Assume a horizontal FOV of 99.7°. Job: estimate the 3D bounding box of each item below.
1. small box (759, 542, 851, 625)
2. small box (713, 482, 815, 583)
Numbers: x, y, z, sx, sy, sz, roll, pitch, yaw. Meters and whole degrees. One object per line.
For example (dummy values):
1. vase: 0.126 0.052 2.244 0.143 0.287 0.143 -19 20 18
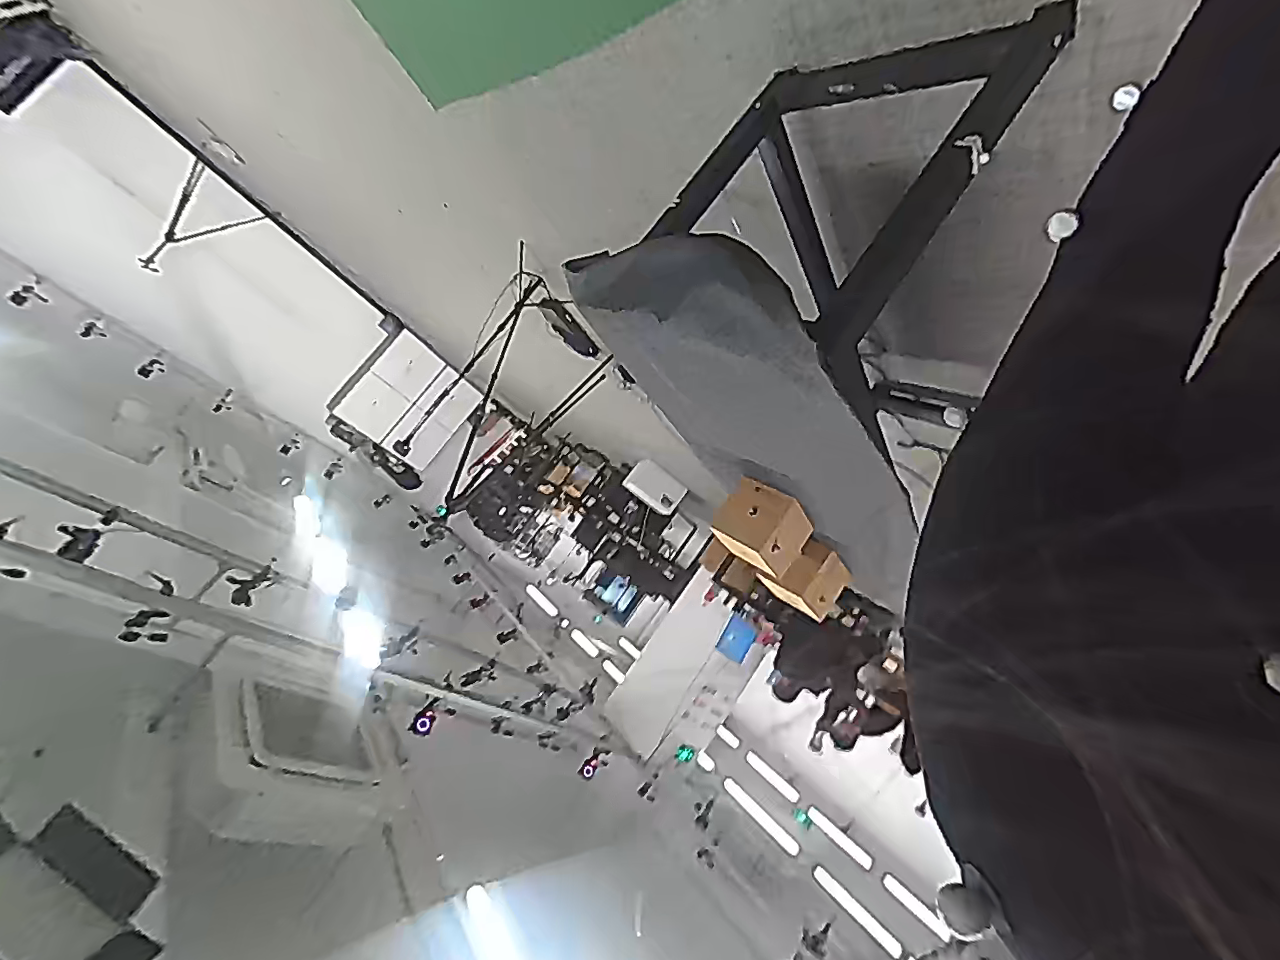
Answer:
1. small box: 0.489 0.288 1.582 0.168 0.176 0.179 26 166 49
2. small box: 0.325 0.132 1.405 0.168 0.176 0.179 29 168 43
